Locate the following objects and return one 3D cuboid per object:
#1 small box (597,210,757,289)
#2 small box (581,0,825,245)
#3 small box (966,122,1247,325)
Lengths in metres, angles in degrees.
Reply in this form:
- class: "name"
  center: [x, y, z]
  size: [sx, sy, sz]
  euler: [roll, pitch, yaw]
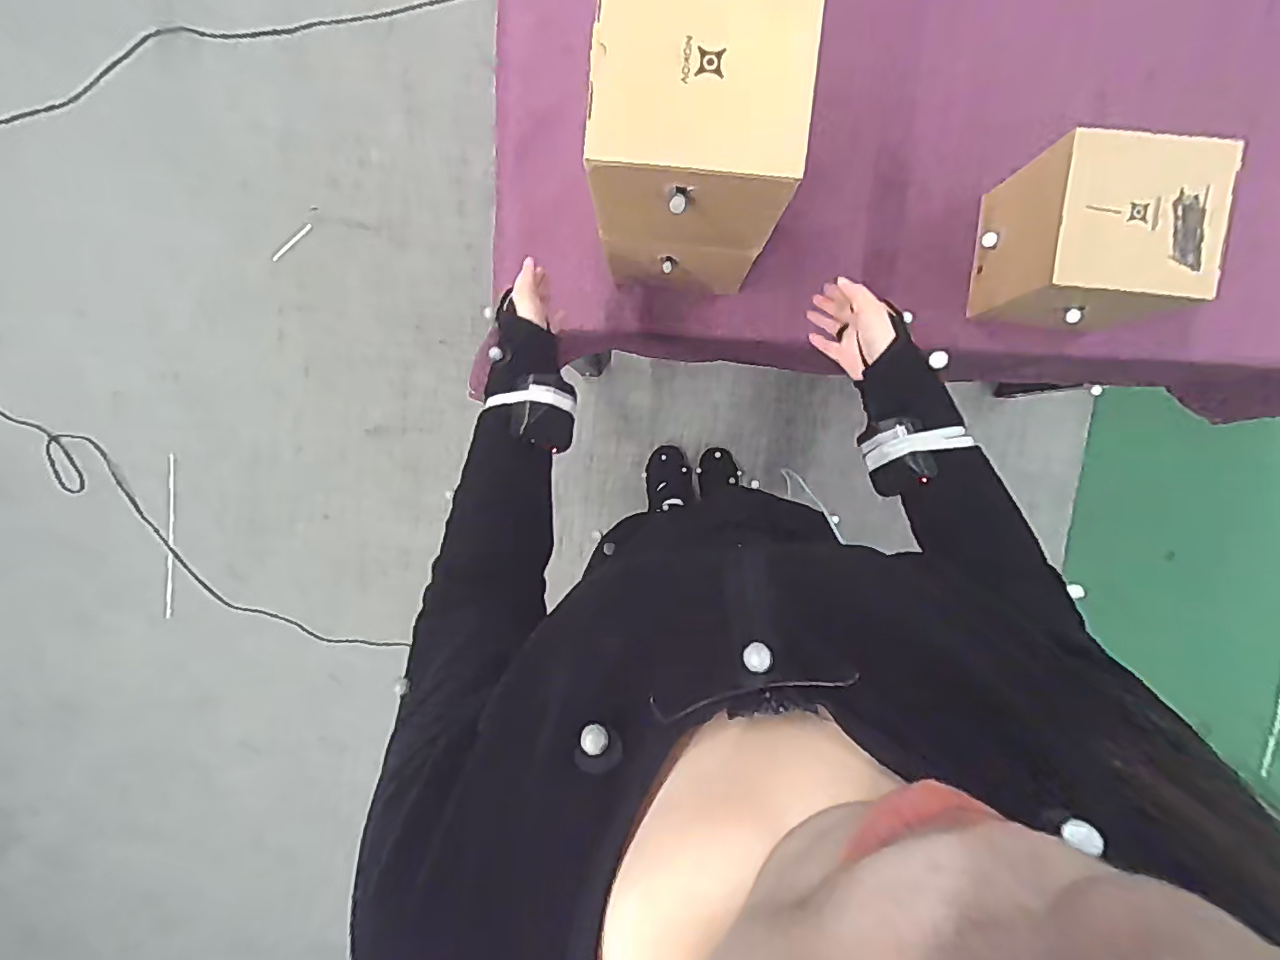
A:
- class: "small box"
  center: [0.051, -0.342, 0.658]
  size: [0.179, 0.176, 0.168]
  euler: [7, 95, 1]
- class: "small box"
  center: [0.051, -0.330, 0.495]
  size: [0.179, 0.176, 0.168]
  euler: [6, 95, 2]
- class: "small box"
  center: [0.535, -0.289, 0.647]
  size: [0.179, 0.176, 0.168]
  euler: [6, 95, 2]
